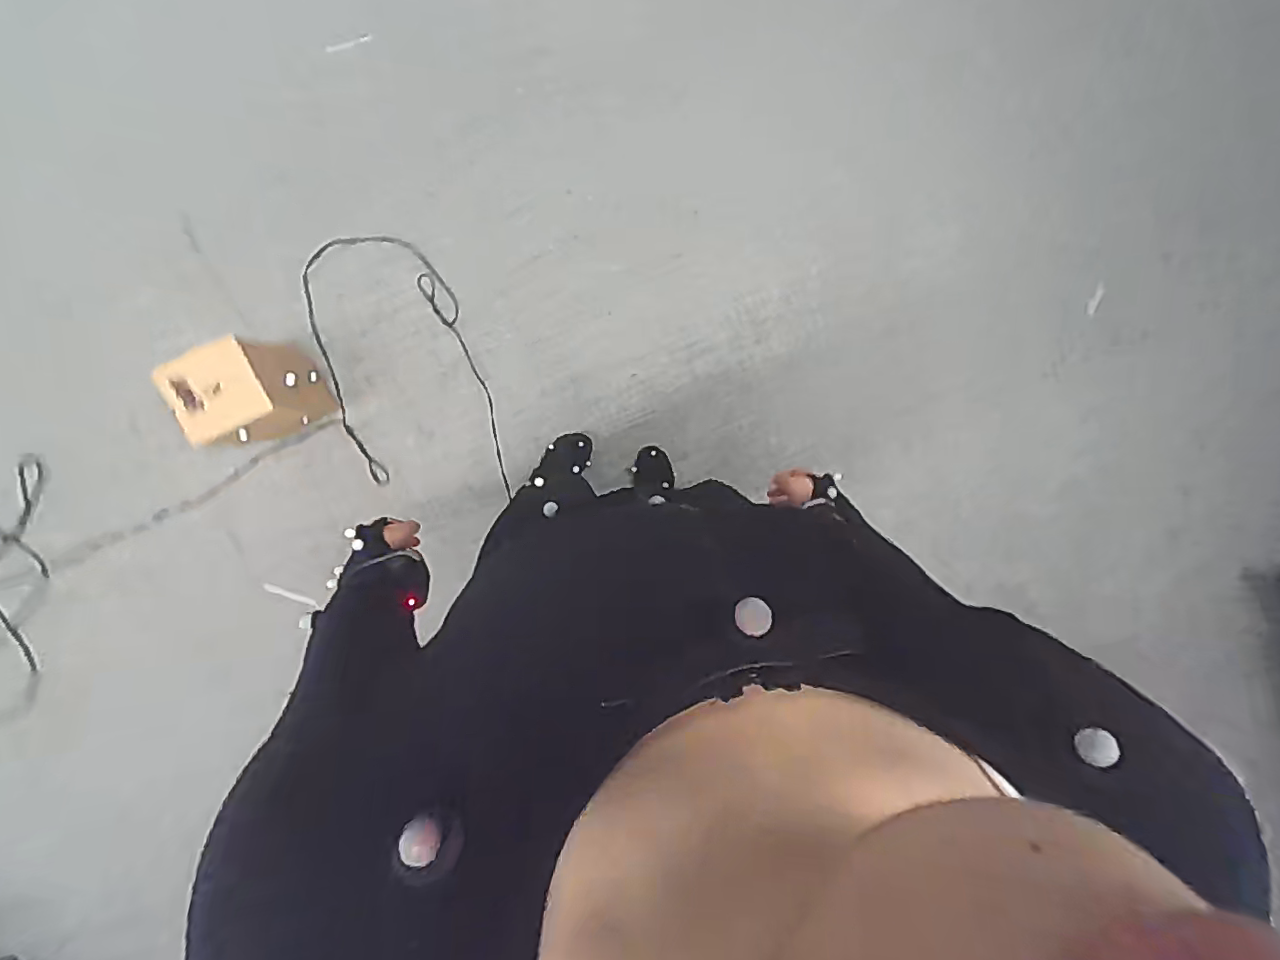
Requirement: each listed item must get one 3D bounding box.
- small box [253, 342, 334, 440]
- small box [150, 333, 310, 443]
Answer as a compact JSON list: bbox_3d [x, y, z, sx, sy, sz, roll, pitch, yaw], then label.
[{"bbox_3d":[-0.875,-0.209,1.300,0.179,0.176,0.168,-29,95,-3],"label":"small box"},{"bbox_3d":[-0.848,-0.184,1.139,0.179,0.176,0.168,-26,96,-4],"label":"small box"}]
